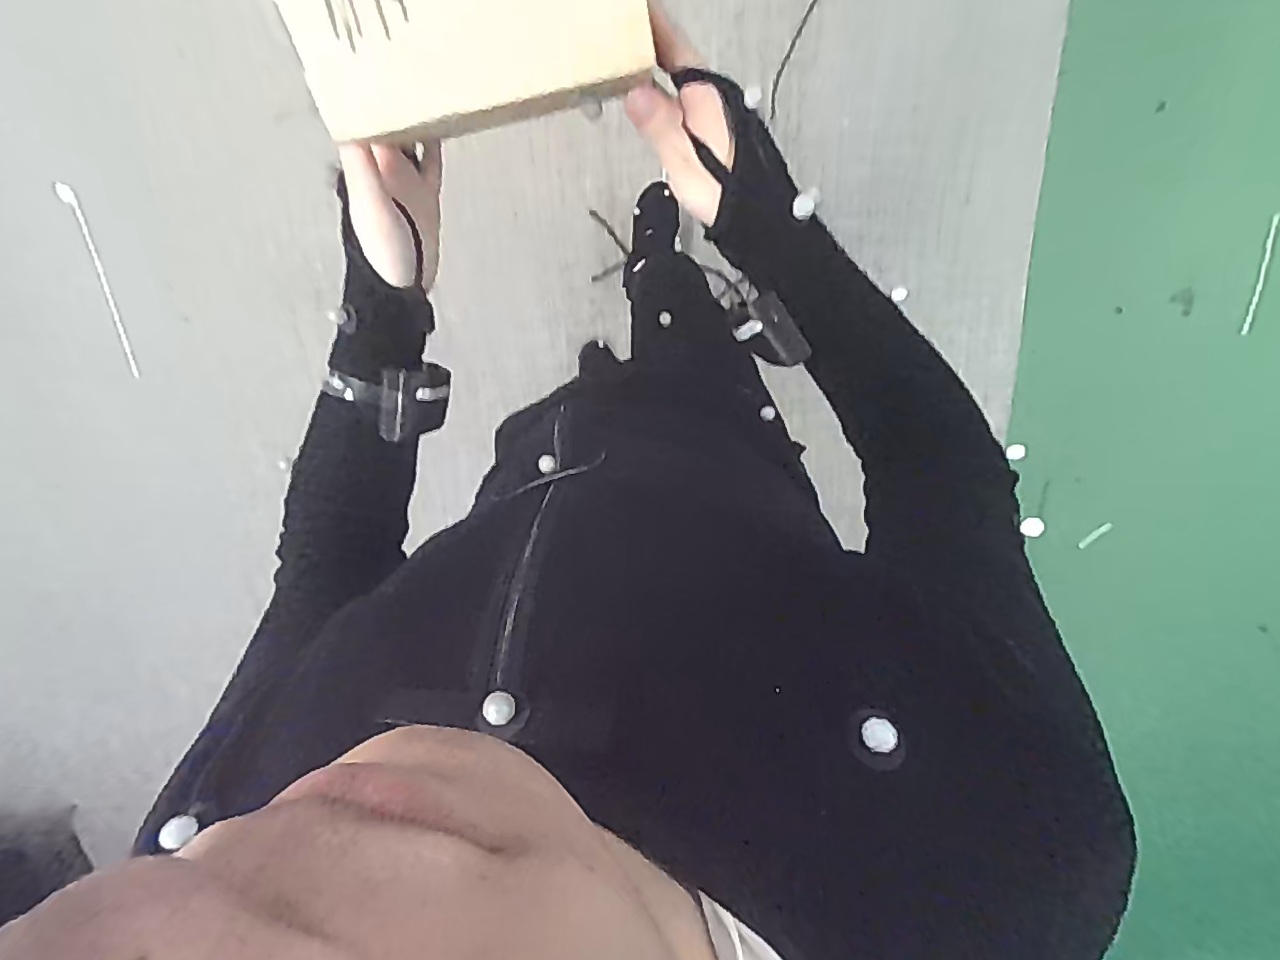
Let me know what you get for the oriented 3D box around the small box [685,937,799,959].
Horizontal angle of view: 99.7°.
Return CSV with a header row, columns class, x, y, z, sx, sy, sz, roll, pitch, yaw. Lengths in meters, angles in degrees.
class,x,y,z,sx,sy,sz,roll,pitch,yaw
small box,0.162,0.822,0.802,0.179,0.176,0.168,-1,108,-2
